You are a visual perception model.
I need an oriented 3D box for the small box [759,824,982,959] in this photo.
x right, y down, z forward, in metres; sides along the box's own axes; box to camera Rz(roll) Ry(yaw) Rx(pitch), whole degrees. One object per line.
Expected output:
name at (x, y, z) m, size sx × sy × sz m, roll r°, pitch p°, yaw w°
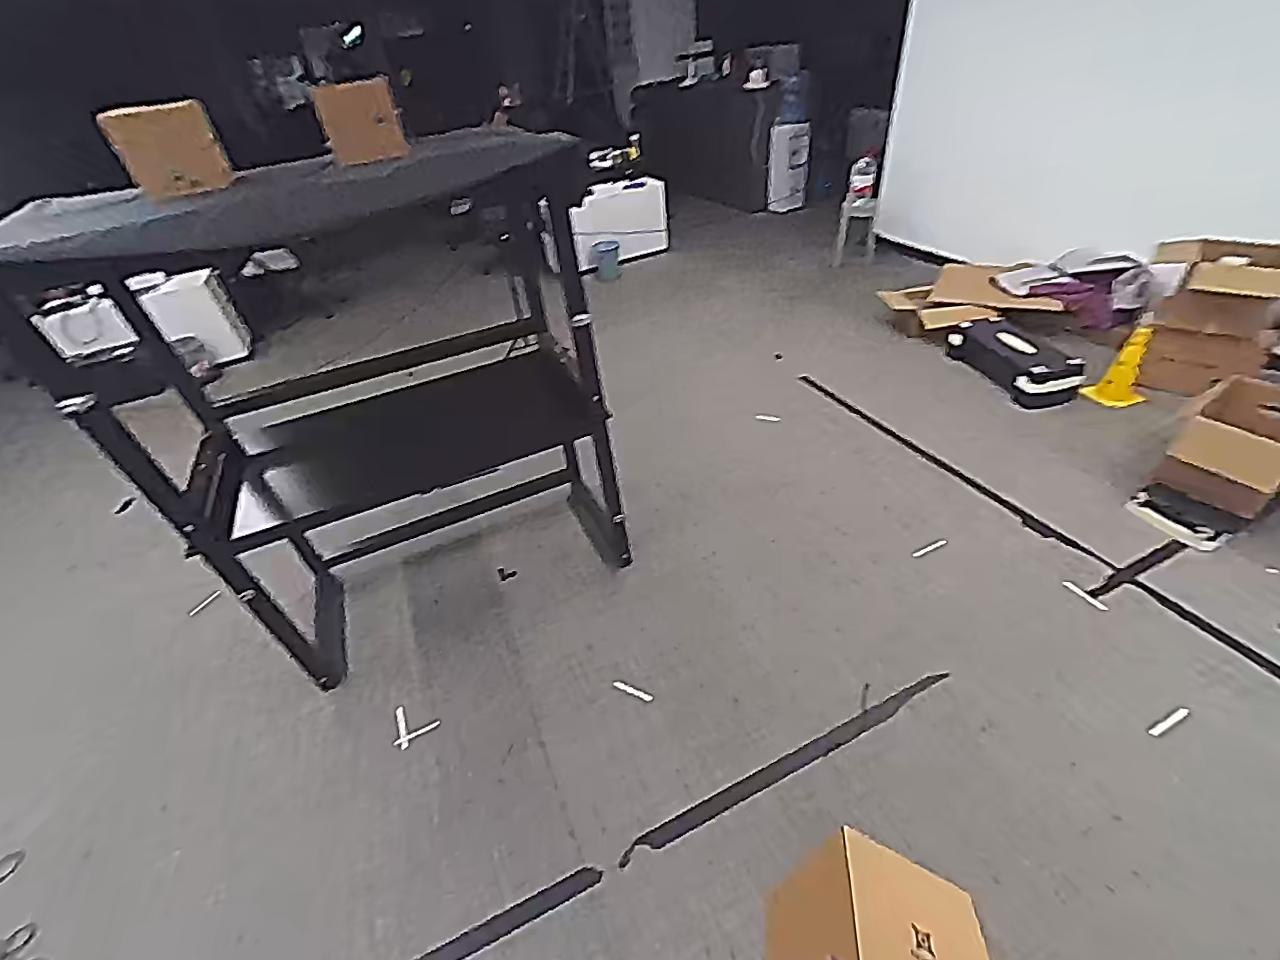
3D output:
small box at (0.236, 0.520, 0.565) m, size 0.168 × 0.176 × 0.179 m, roll 29°, pitch 26°, yaw 0°

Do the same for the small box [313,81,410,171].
small box at (-0.707, -0.914, 1.391) m, size 0.179 × 0.176 × 0.168 m, roll -19°, pitch 40°, yaw -14°
